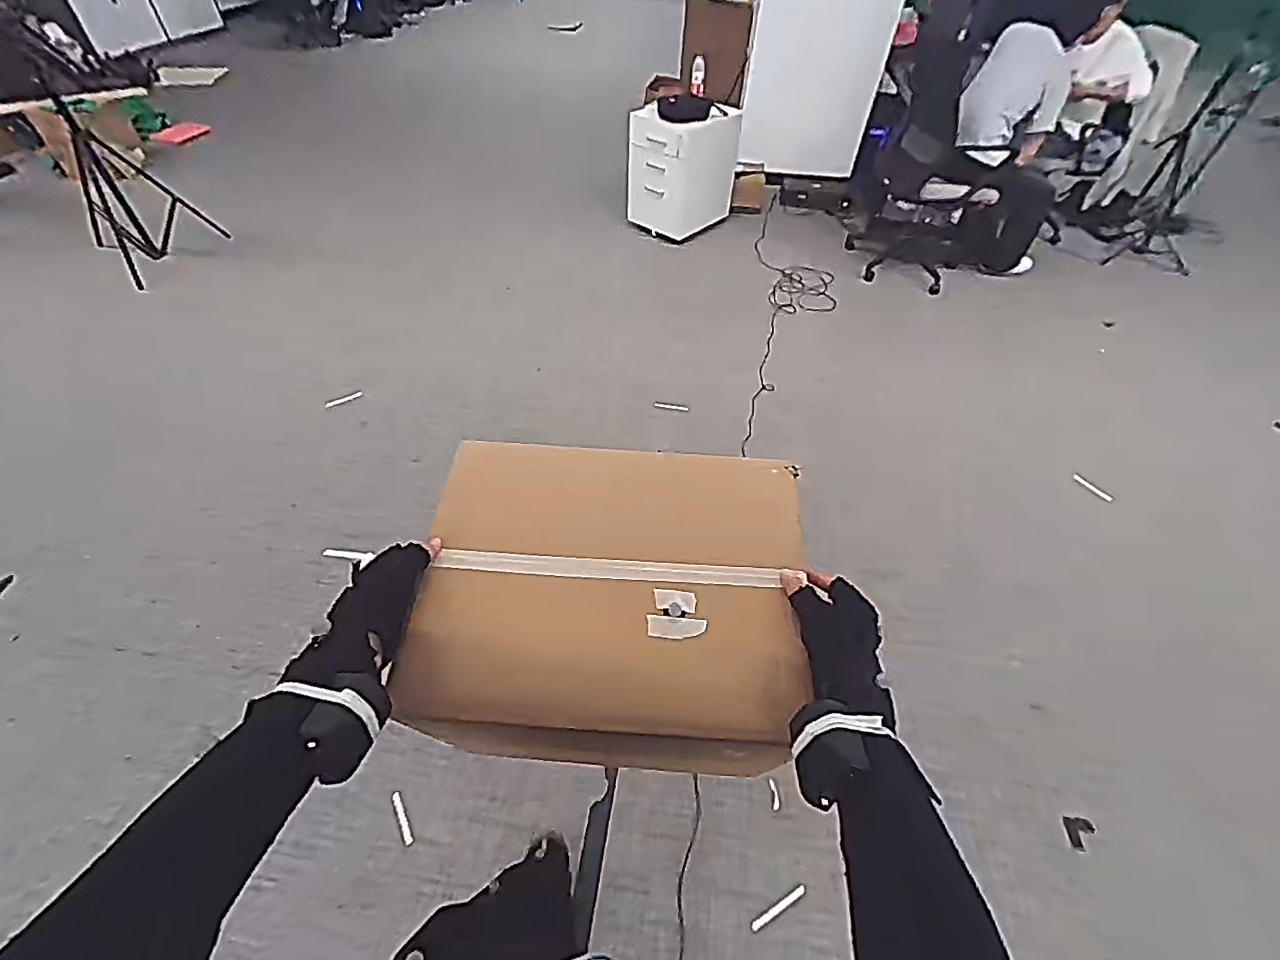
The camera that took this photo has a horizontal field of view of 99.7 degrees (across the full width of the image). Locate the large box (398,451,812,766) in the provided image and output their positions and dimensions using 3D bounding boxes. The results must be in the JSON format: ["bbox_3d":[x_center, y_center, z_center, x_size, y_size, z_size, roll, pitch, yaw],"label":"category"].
[{"bbox_3d":[-0.032,0.182,0.715,0.408,0.320,0.320,3,57,1],"label":"large box"}]
